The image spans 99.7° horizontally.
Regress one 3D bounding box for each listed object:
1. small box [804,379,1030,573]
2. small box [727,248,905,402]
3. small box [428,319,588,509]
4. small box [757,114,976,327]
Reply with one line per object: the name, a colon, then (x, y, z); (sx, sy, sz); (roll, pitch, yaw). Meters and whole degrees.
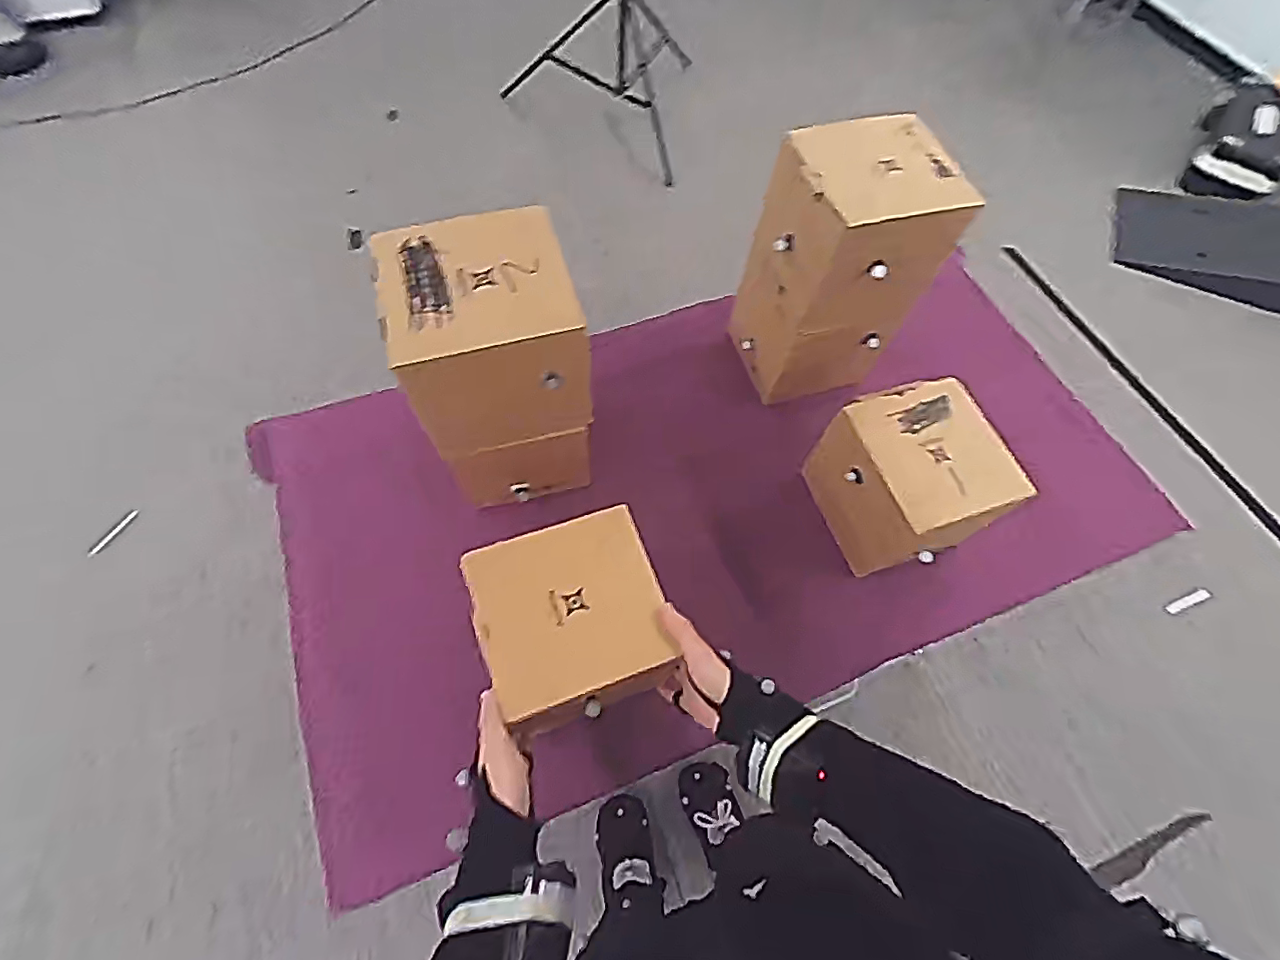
small box: (0.343, -0.001, 0.713); (0.168, 0.176, 0.179); (-16, 65, -10)
small box: (0.254, -0.245, 0.829); (0.179, 0.176, 0.168); (-16, 66, -10)
small box: (-0.169, -0.083, 0.726); (0.168, 0.176, 0.179); (-14, 68, -9)
small box: (0.261, -0.317, 0.681); (0.179, 0.176, 0.168); (-15, 67, -9)
